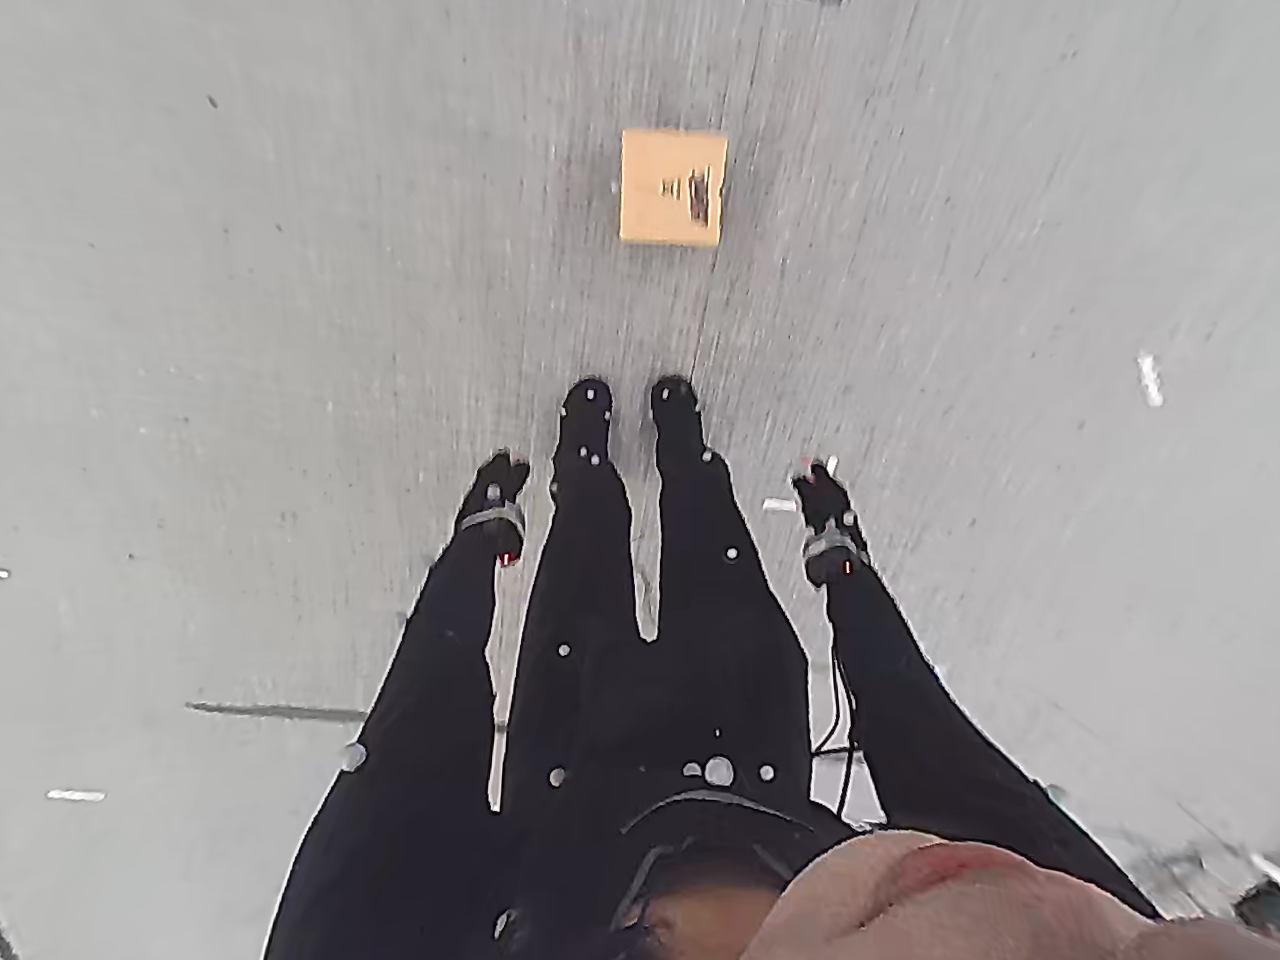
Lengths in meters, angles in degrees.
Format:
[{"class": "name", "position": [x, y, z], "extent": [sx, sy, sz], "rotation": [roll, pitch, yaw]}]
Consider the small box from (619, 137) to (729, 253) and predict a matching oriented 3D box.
[{"class": "small box", "position": [0.053, -0.511, 0.984], "extent": [0.179, 0.176, 0.168], "rotation": [2, 113, -3]}]
